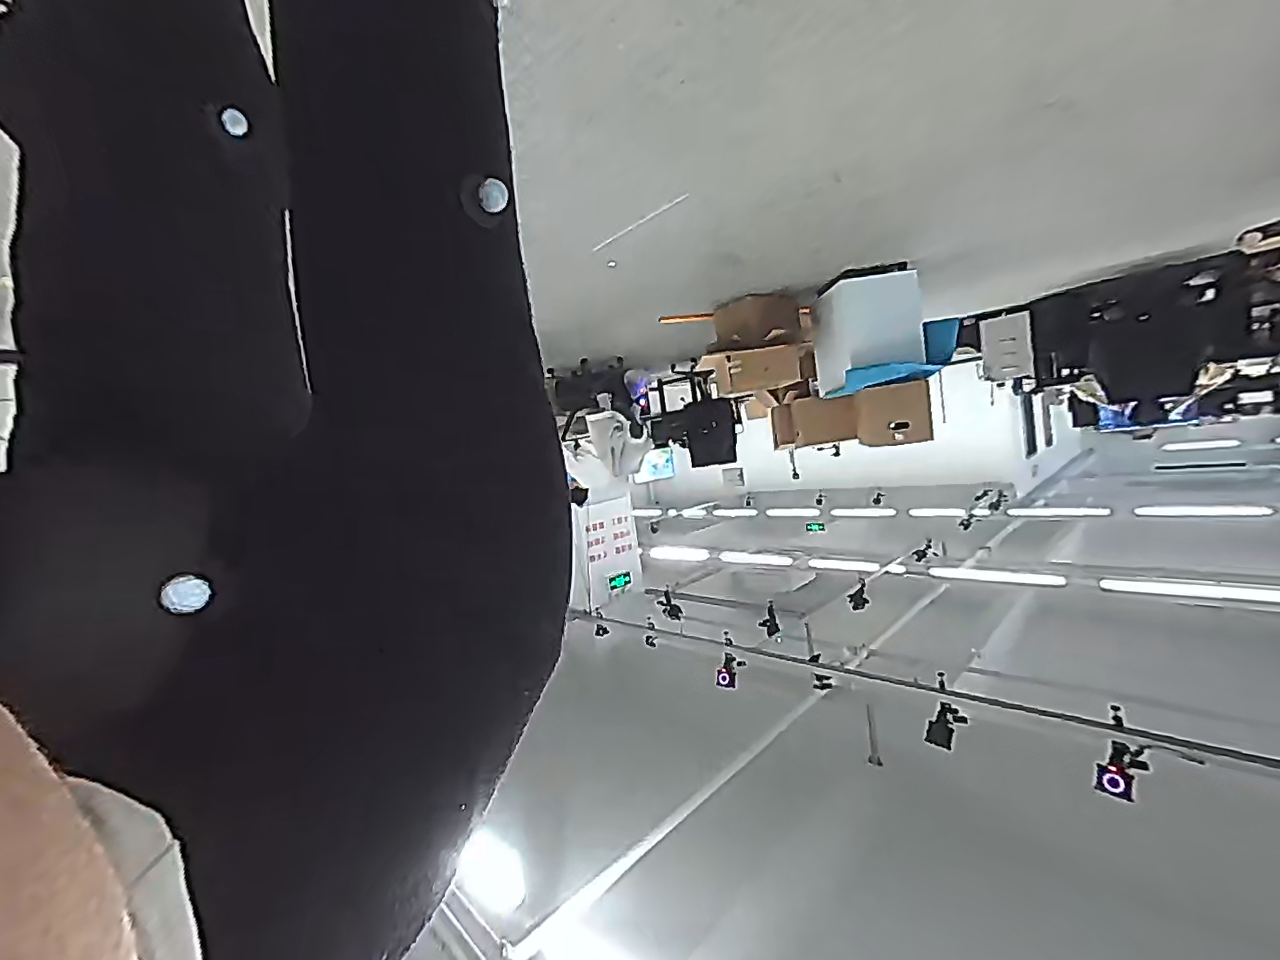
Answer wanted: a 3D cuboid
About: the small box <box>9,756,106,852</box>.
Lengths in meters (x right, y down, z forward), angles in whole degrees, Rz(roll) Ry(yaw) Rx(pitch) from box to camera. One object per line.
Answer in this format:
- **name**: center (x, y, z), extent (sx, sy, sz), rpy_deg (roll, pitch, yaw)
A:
- **small box**: center (-1.768, 0.971, 1.647), extent (0.168, 0.176, 0.179), rpy_deg (-4, -175, 45)
